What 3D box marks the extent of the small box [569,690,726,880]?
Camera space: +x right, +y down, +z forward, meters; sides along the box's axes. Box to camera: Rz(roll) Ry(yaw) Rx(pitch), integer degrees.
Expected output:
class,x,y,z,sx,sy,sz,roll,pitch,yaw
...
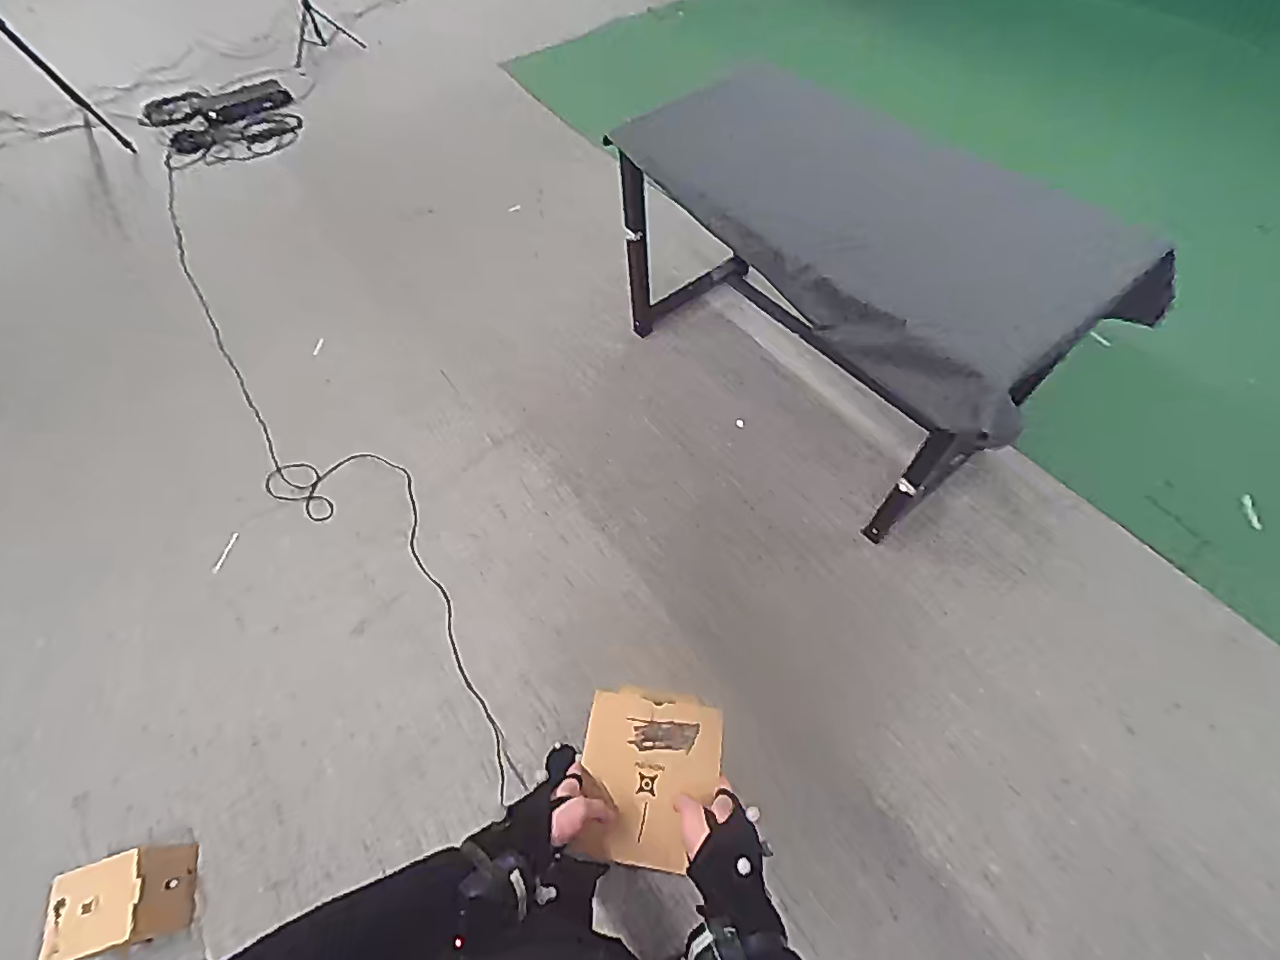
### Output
class,x,y,z,sx,sy,sz,roll,pitch,yaw
small box,0.015,0.390,0.689,0.168,0.176,0.179,5,54,6

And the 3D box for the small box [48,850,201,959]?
class,x,y,z,sx,sy,sz,roll,pitch,yaw
small box,-1.102,0.931,1.172,0.179,0.176,0.168,-18,61,-7
